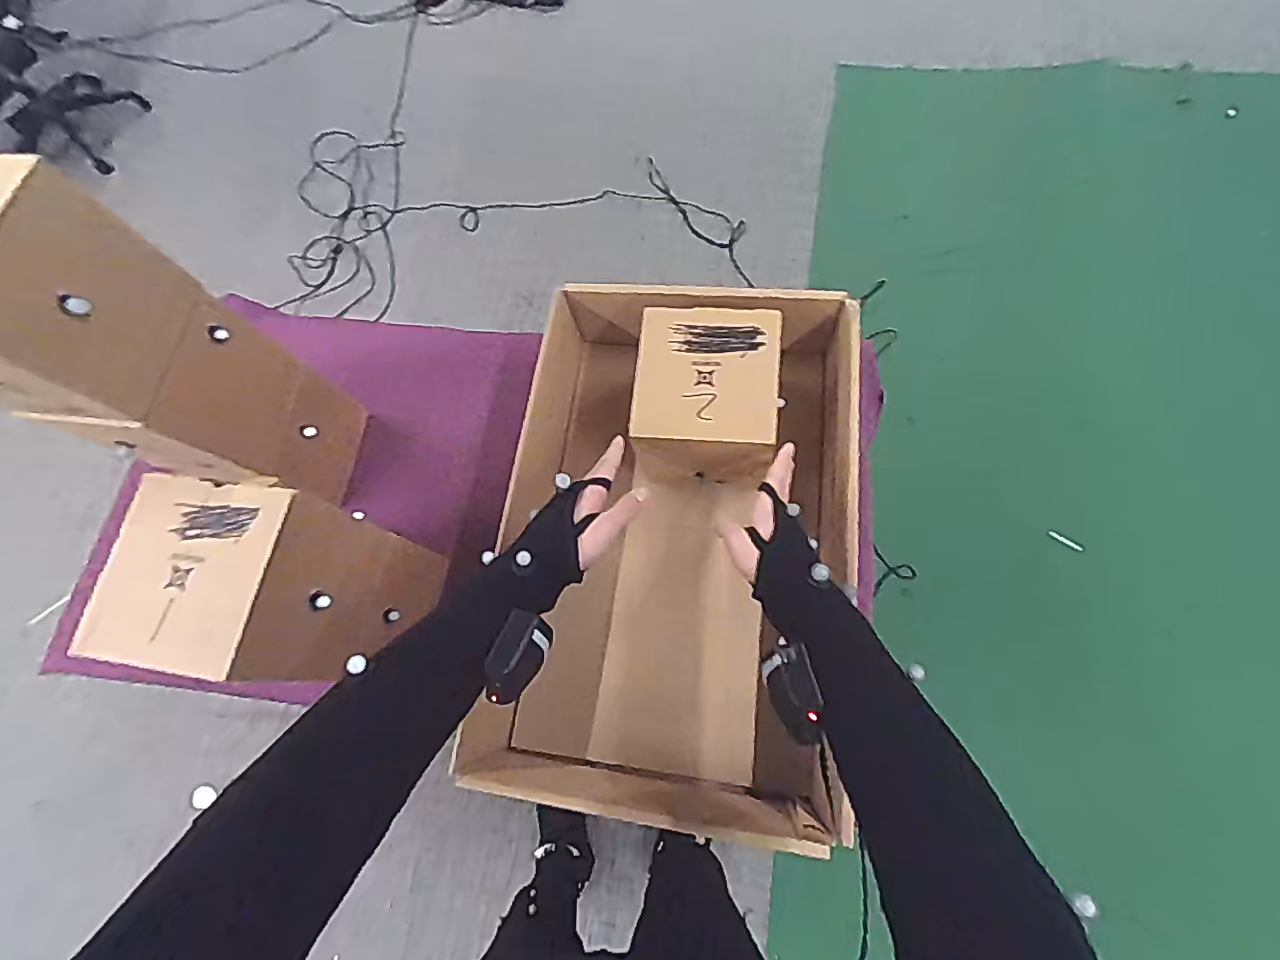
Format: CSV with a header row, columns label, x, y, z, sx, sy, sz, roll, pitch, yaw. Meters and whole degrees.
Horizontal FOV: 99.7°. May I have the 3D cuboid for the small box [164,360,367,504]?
label,x,y,z,sx,sy,sz,roll,pitch,yaw
small box,-0.555,-0.071,0.829,0.168,0.176,0.179,6,72,8

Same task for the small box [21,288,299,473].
label,x,y,z,sx,sy,sz,roll,pitch,yaw
small box,-0.573,-0.119,0.675,0.168,0.176,0.179,6,72,8

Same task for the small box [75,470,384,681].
label,x,y,z,sx,sy,sz,roll,pitch,yaw
small box,-0.405,0.107,0.573,0.168,0.176,0.179,7,72,9

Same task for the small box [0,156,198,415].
label,x,y,z,sx,sy,sz,roll,pitch,yaw
small box,-0.588,-0.176,0.522,0.168,0.176,0.179,5,72,7
